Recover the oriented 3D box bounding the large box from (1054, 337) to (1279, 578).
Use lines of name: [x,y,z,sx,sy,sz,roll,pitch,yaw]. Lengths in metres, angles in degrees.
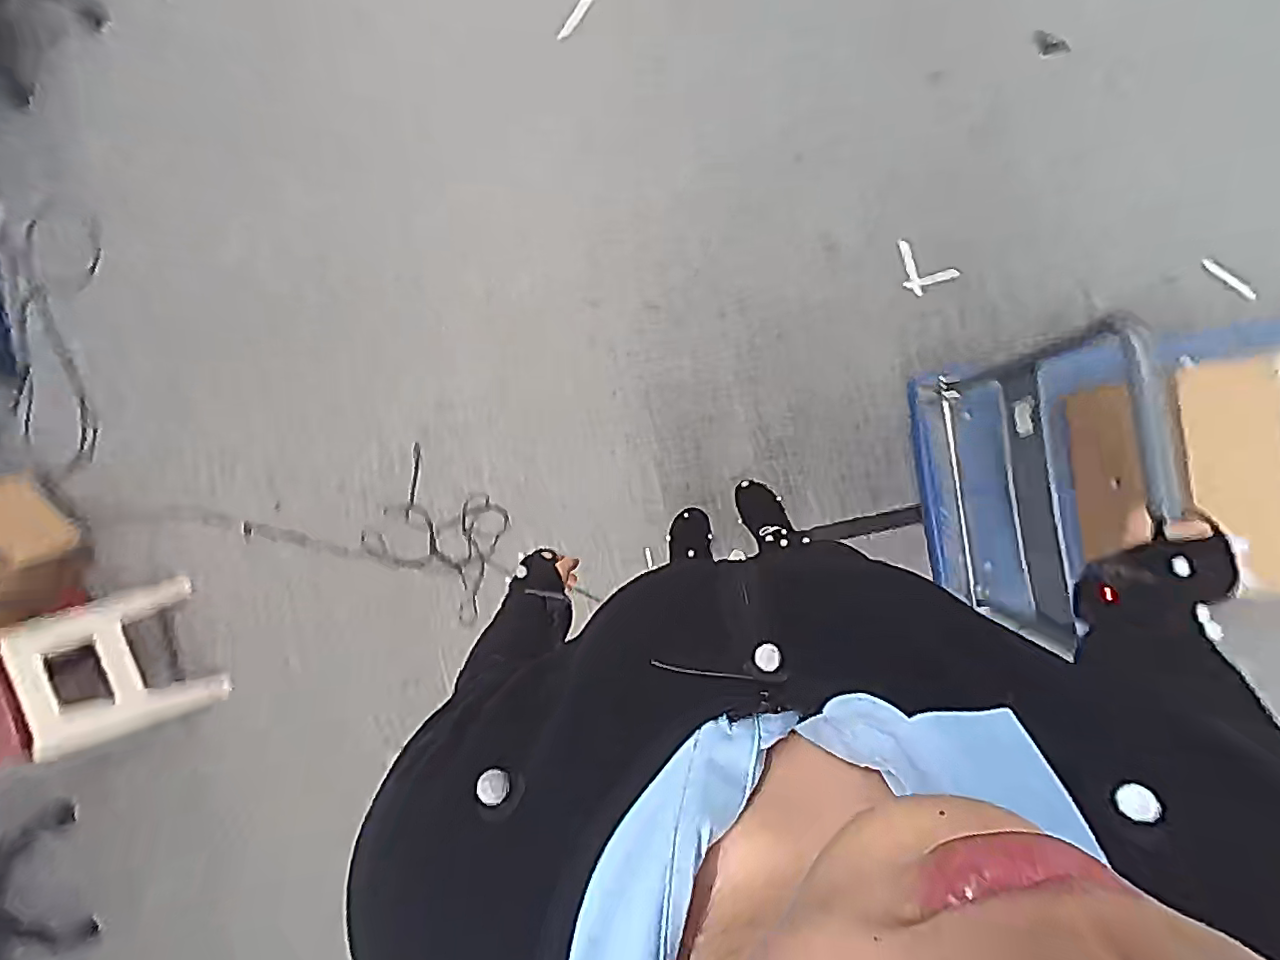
large box: [1.108,-0.041,1.076,0.320,0.320,0.408,-8,88,7]
